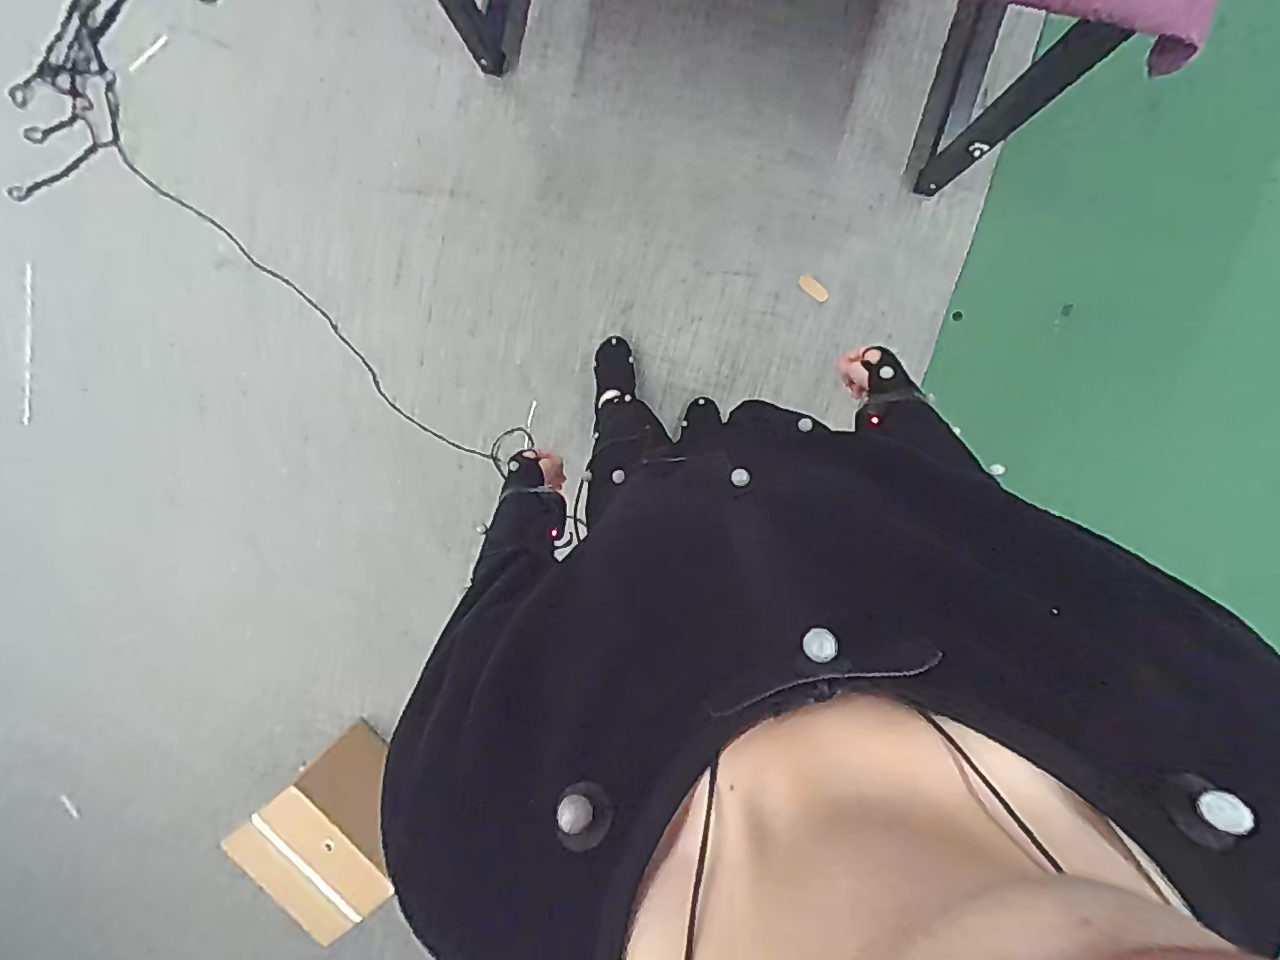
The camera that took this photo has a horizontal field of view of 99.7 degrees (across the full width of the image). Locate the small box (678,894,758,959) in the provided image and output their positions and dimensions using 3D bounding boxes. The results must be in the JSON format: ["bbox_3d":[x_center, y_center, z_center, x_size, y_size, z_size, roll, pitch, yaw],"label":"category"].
[{"bbox_3d":[0.184,1.137,1.290,0.179,0.176,0.168,4,98,5],"label":"small box"}]
